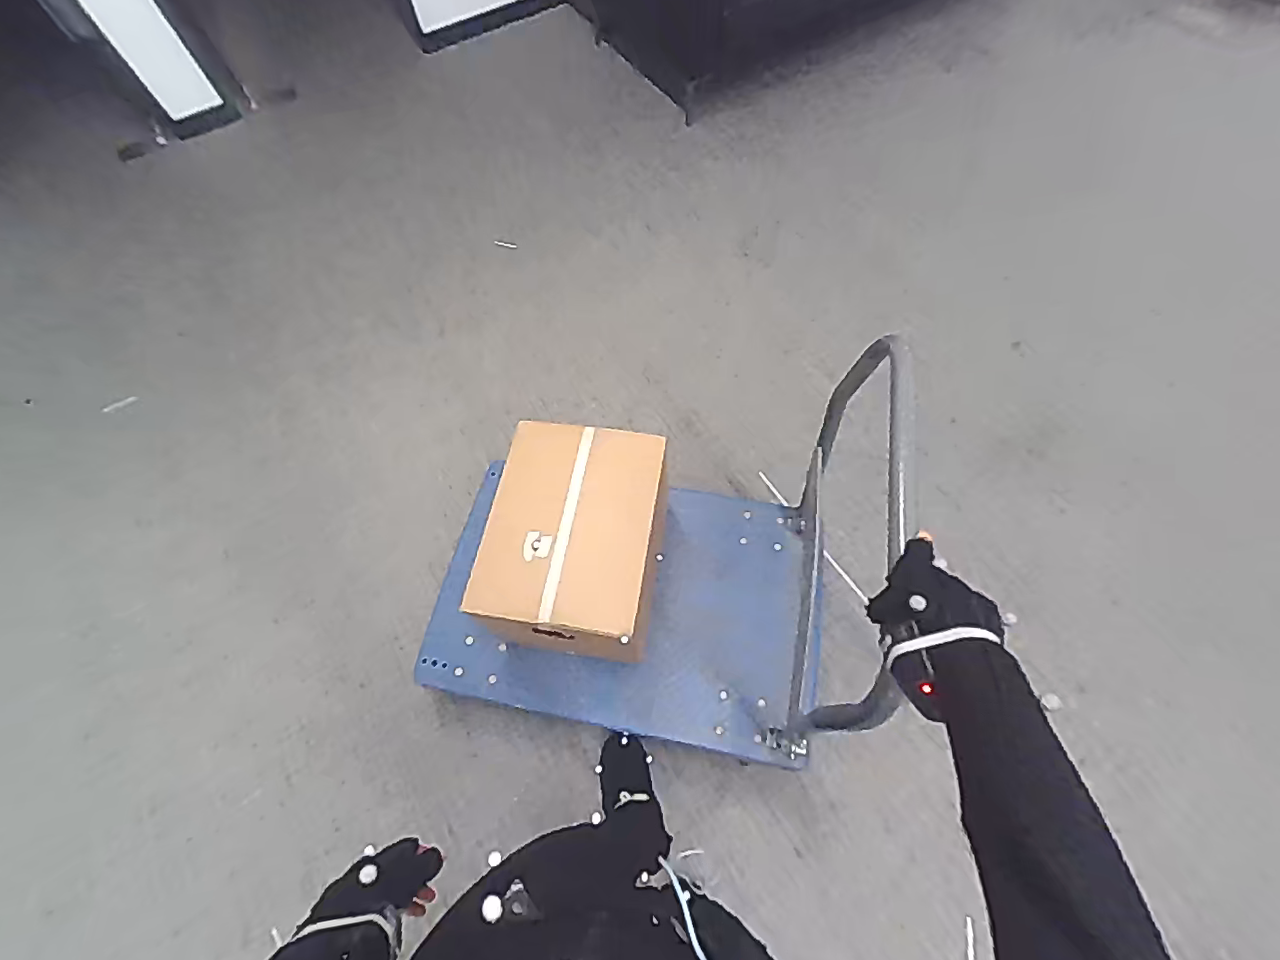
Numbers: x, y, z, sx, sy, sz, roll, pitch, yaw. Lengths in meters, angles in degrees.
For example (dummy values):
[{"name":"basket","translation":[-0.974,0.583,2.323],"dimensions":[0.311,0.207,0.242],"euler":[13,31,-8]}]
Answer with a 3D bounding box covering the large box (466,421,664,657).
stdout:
[{"name":"large box","translation":[-0.124,0.133,1.161],"dimensions":[0.320,0.320,0.408],"euler":[7,65,8]}]
